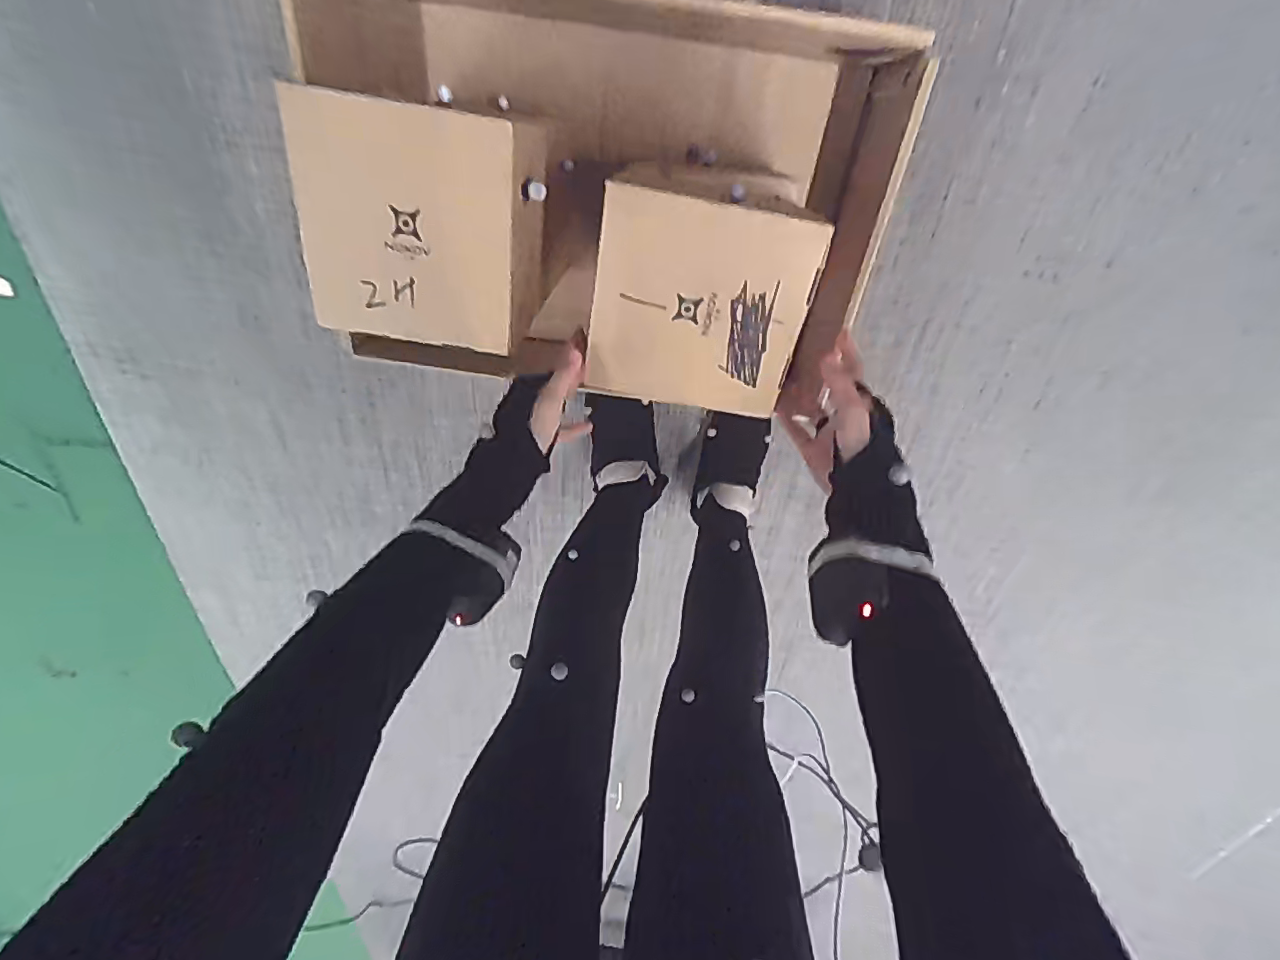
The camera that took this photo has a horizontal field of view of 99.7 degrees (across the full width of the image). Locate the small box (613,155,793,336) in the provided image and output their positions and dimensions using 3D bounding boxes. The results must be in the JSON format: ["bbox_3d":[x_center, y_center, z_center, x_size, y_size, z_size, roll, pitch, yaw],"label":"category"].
[{"bbox_3d":[0.069,-0.288,0.653,0.179,0.176,0.168,7,124,2],"label":"small box"}]

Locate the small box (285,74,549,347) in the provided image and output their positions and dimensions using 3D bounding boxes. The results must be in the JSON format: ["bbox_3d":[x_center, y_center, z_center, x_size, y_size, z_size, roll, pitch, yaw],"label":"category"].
[{"bbox_3d":[-0.182,-0.245,0.498,0.168,0.176,0.179,9,123,-2],"label":"small box"}]
